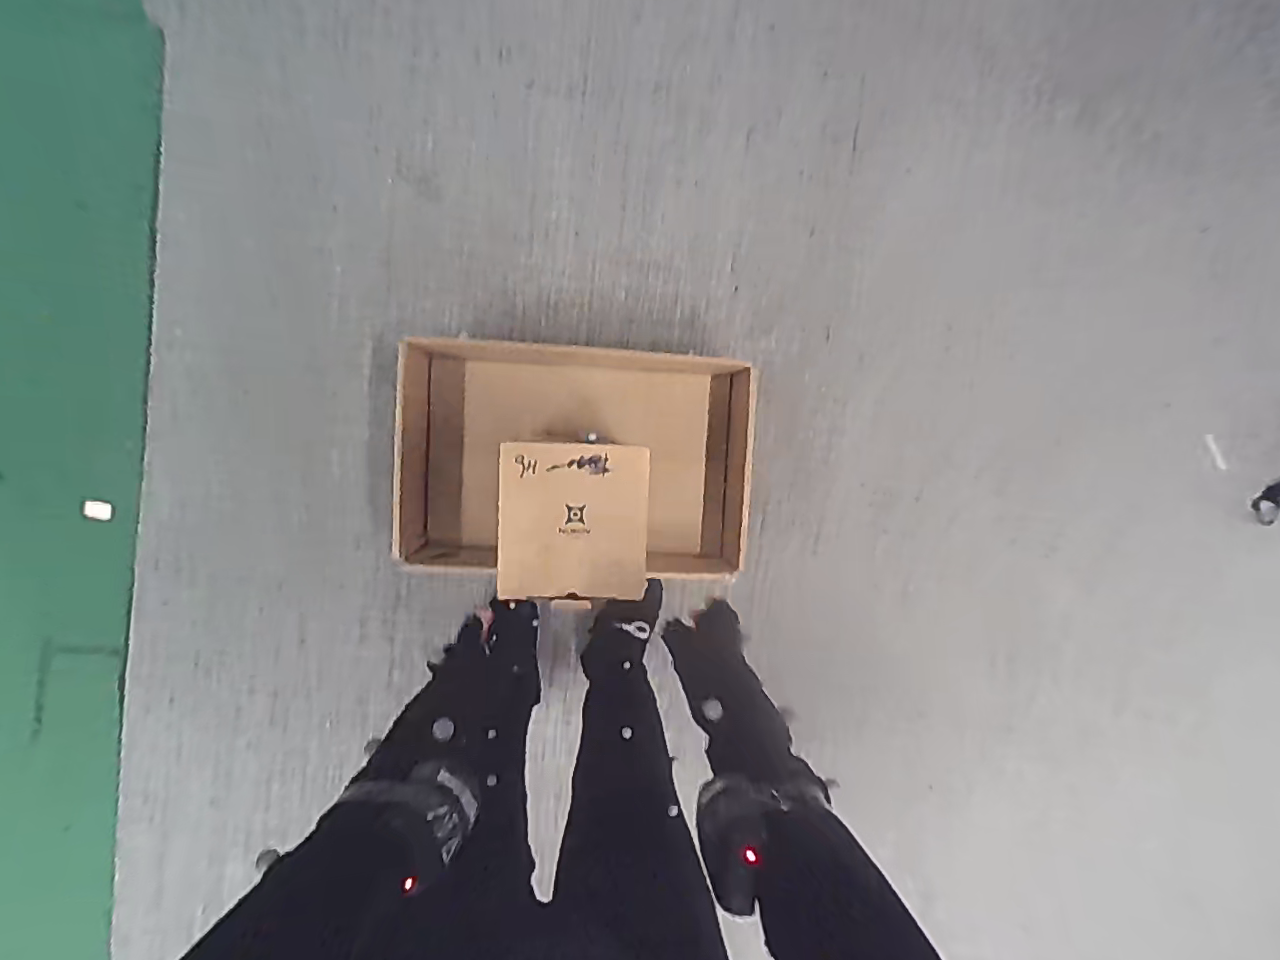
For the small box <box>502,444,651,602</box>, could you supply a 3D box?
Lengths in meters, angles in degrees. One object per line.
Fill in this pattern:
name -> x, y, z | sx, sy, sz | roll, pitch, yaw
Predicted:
small box -> -0.079, 0.046, 0.689 | 0.168, 0.176, 0.179 | 2, 94, -6
